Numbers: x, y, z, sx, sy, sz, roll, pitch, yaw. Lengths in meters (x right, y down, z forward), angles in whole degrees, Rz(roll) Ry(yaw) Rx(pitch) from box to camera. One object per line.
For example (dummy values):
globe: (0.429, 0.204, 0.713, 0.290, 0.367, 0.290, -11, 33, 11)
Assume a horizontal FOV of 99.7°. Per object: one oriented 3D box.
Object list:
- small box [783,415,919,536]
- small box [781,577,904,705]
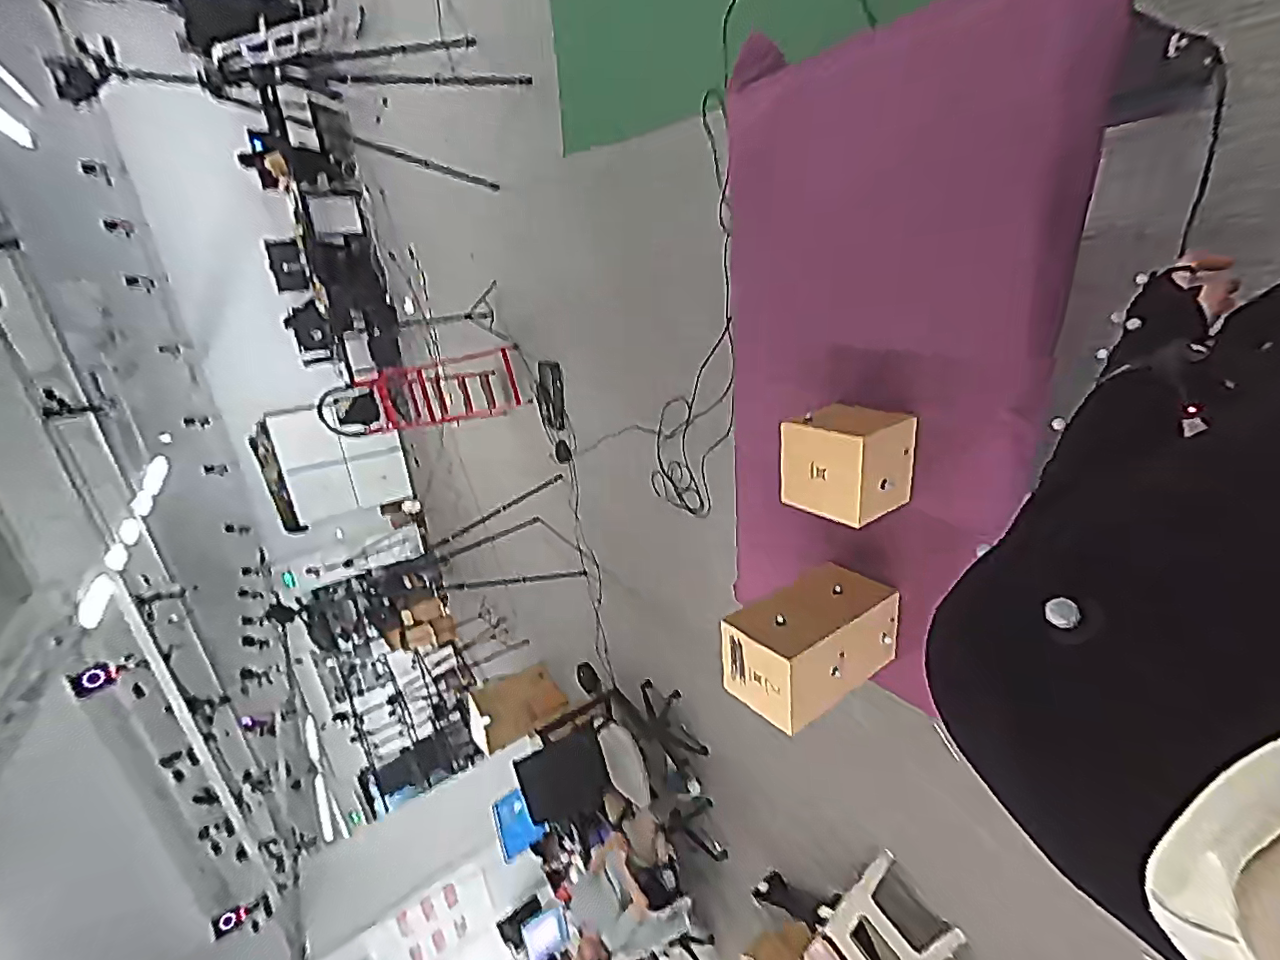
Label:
small box: (0.389, -0.019, 1.001, 0.179, 0.176, 0.168, 21, 123, 52)
small box: (0.416, 0.320, 1.122, 0.179, 0.176, 0.168, 19, 121, 51)
